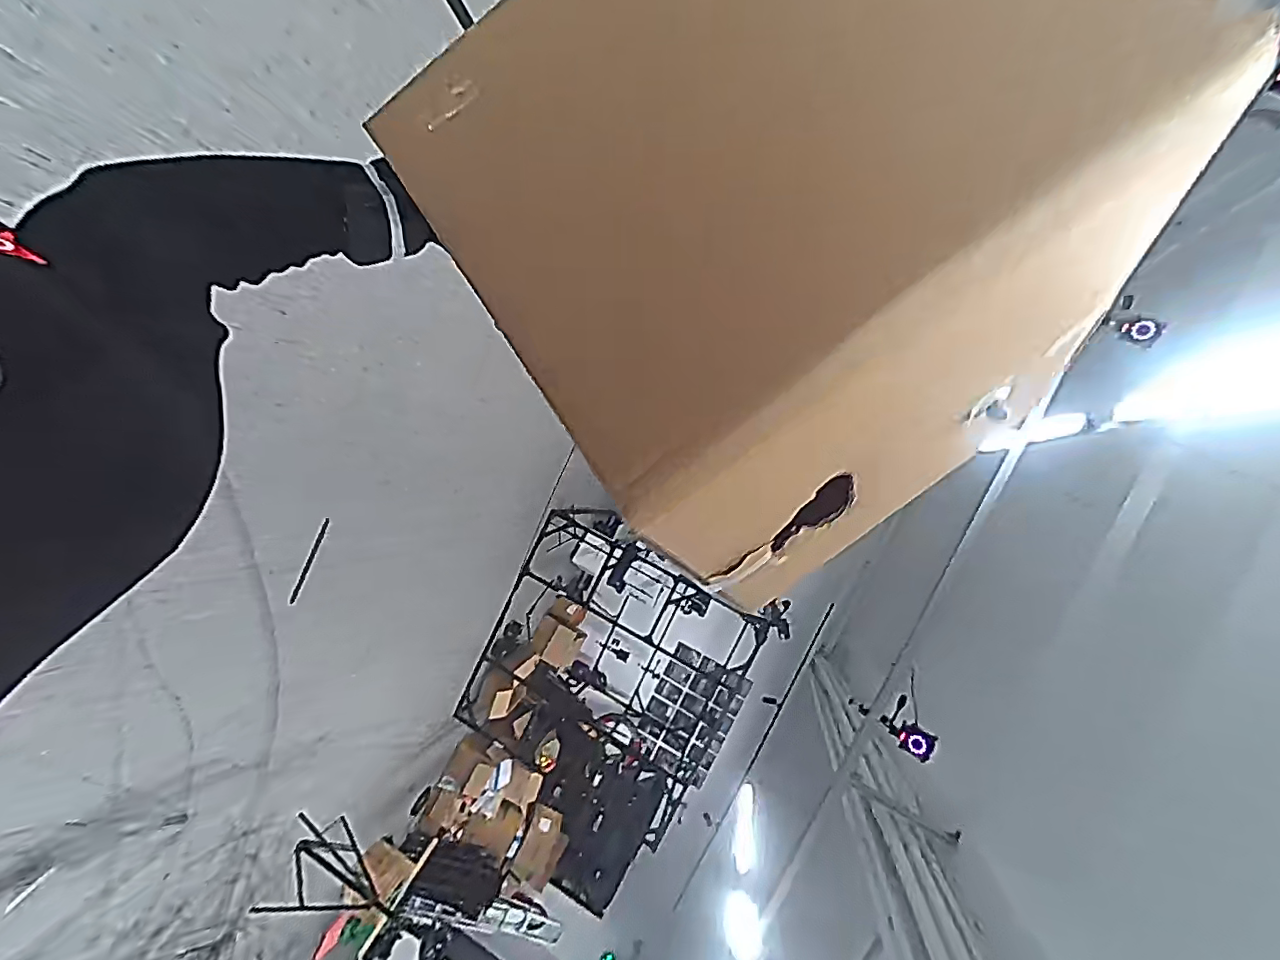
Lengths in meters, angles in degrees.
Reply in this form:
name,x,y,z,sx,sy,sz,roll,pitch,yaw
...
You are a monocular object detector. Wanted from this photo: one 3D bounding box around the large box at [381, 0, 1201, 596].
name,x,y,z,sx,sy,sz,roll,pitch,yaw
large box,0.064,-0.174,0.445,0.320,0.408,0.320,-36,152,4
